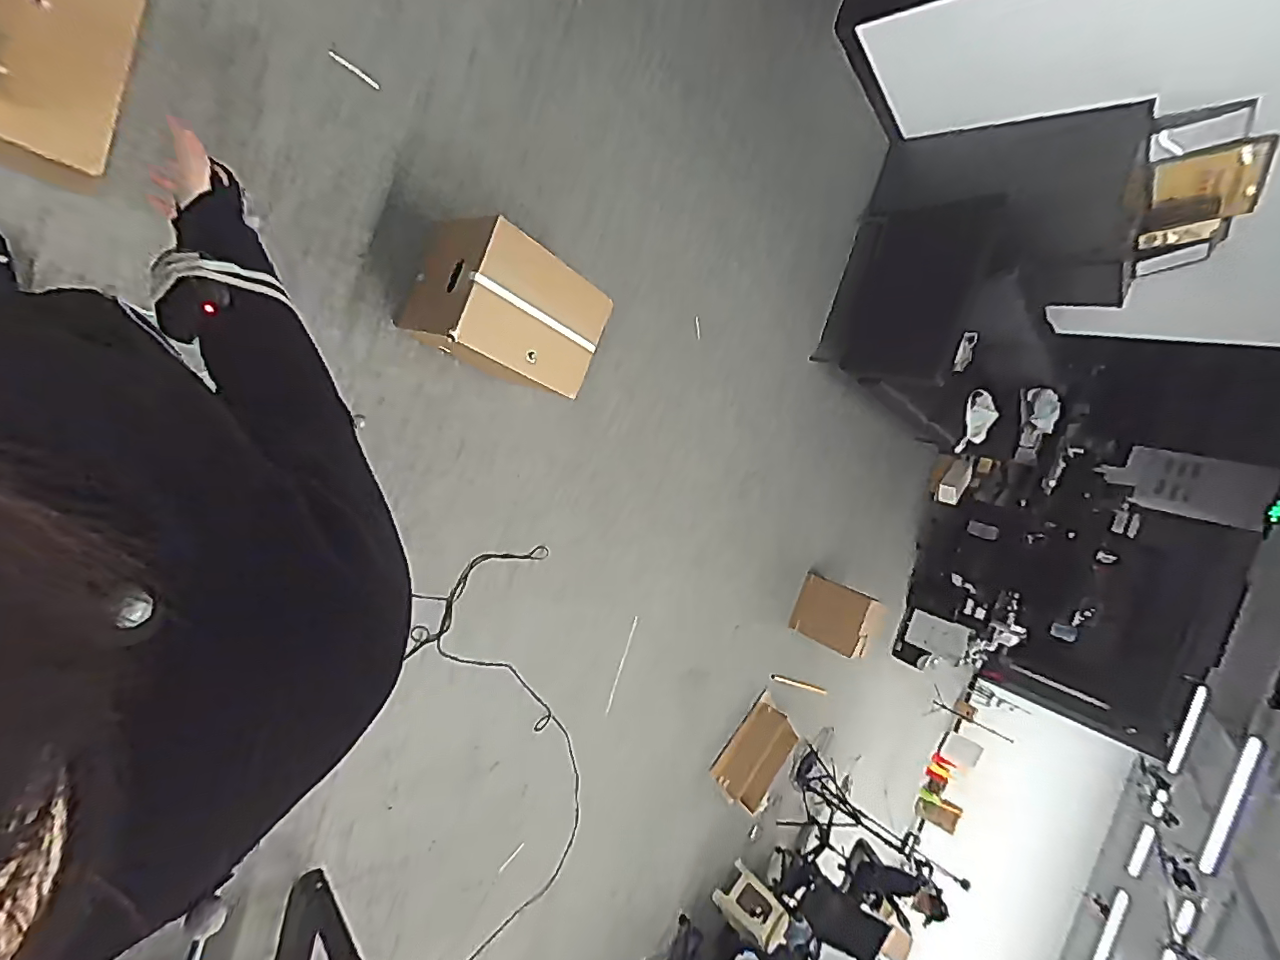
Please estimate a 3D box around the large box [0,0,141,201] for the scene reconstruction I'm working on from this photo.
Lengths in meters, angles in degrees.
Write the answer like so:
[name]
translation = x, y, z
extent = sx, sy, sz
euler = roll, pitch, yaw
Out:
[large box]
translation = -0.960, -0.691, 0.786
extent = 0.320, 0.320, 0.408
euler = 12, 95, -48
